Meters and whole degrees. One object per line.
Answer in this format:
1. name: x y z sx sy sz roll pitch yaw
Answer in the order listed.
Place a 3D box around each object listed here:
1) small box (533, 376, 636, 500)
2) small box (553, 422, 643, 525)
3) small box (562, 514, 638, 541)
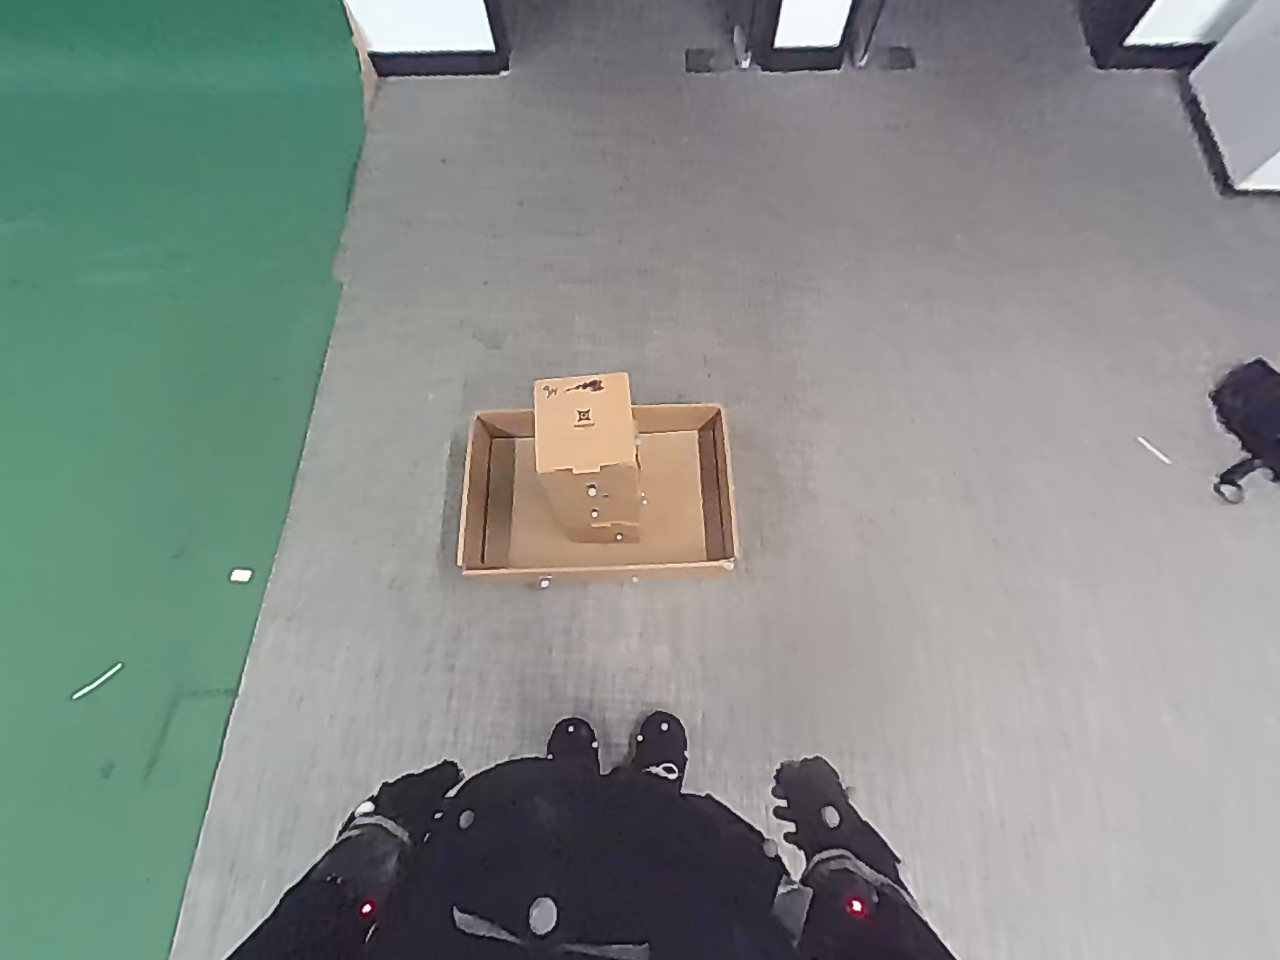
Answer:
1. small box: -0.097 -0.067 0.987 0.168 0.176 0.179 -5 70 0
2. small box: -0.089 -0.008 1.140 0.179 0.176 0.168 -5 70 -2
3. small box: -0.089 0.046 1.294 0.168 0.176 0.179 -1 69 1
